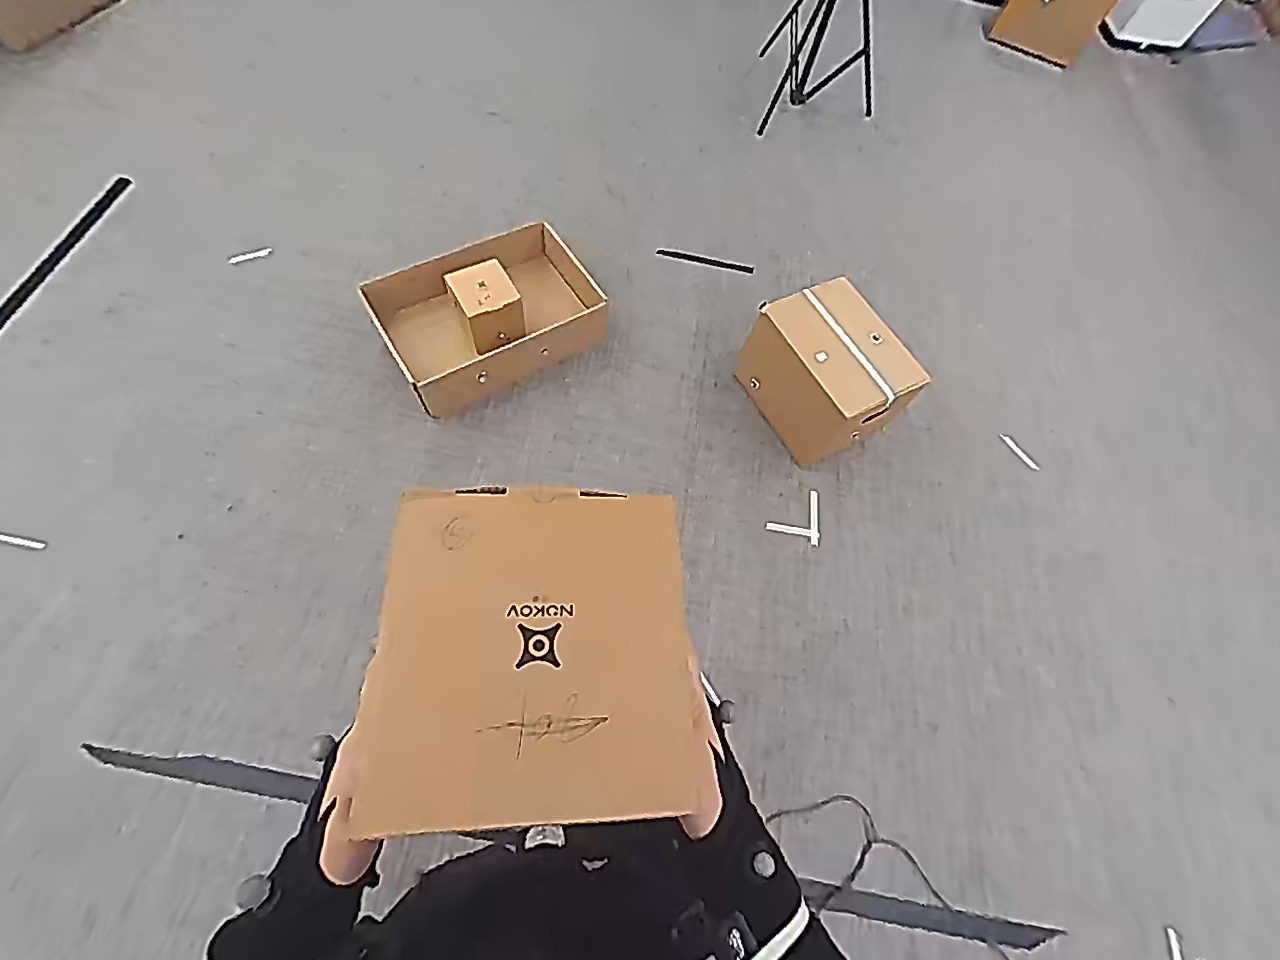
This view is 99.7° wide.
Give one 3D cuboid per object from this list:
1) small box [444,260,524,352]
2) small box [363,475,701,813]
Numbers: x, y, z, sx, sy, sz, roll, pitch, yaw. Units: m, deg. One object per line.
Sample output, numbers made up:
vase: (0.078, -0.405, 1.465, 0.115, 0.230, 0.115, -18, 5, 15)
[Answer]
small box: (-0.464, -0.519, 1.626, 0.168, 0.176, 0.179, -27, 71, -17)
small box: (-0.065, 0.113, 0.368, 0.168, 0.176, 0.179, 2, 65, -9)
